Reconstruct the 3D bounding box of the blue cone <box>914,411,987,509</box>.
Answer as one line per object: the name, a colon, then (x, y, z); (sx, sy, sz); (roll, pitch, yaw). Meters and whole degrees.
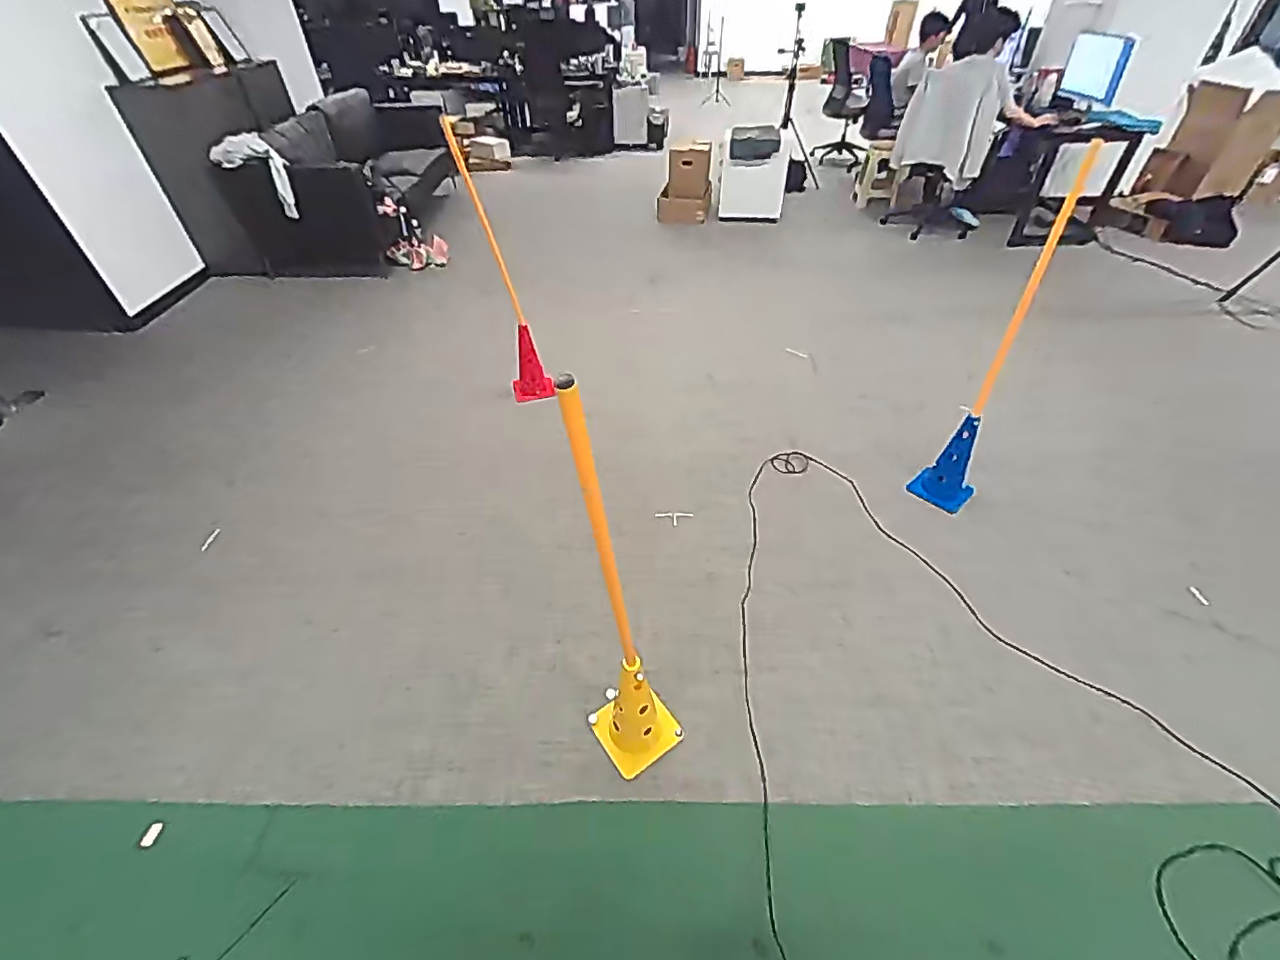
blue cone: (1.201, -0.095, 2.034); (0.193, 0.380, 0.192); (-32, 50, -32)
